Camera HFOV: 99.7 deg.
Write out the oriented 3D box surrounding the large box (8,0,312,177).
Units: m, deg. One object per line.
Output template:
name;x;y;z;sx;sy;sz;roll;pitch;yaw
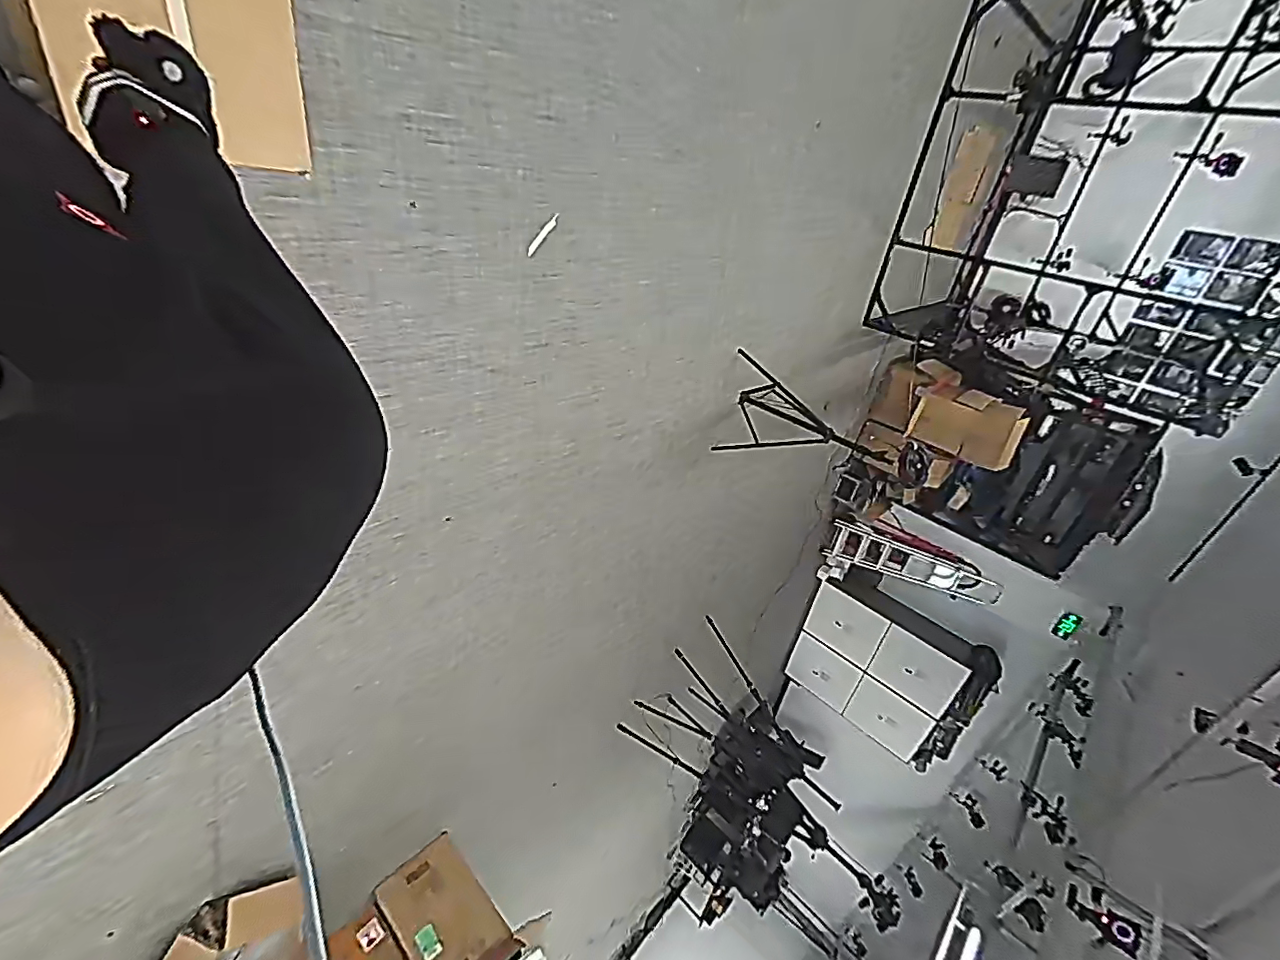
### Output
large box;-0.785;-0.752;0.869;0.320;0.320;0.408;-22;134;-44
